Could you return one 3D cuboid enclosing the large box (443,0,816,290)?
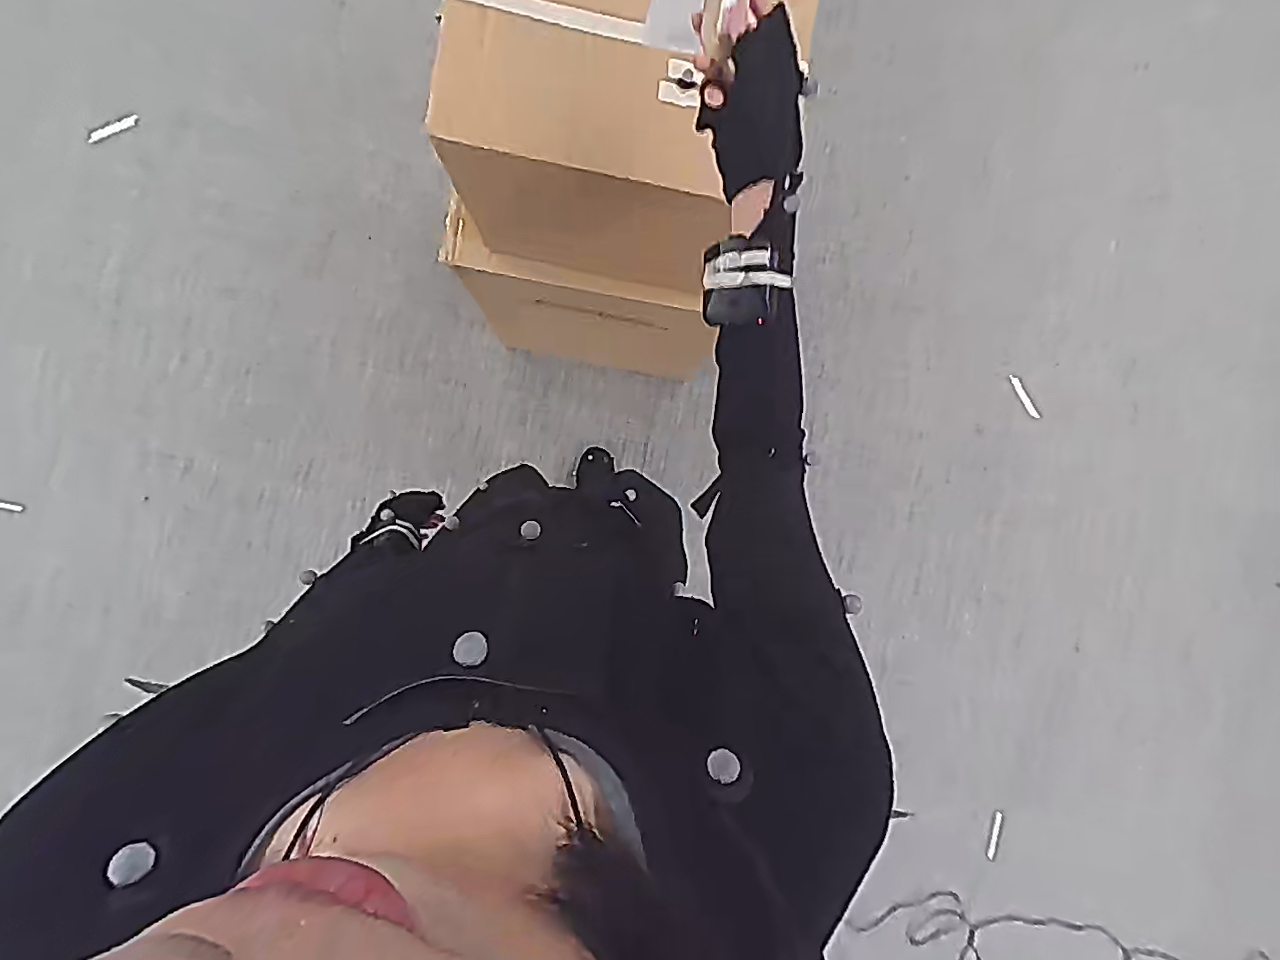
[{"bbox_3d":[-0.018,-0.501,0.763,0.408,0.320,0.320,10,91,-6],"label":"large box"}]
